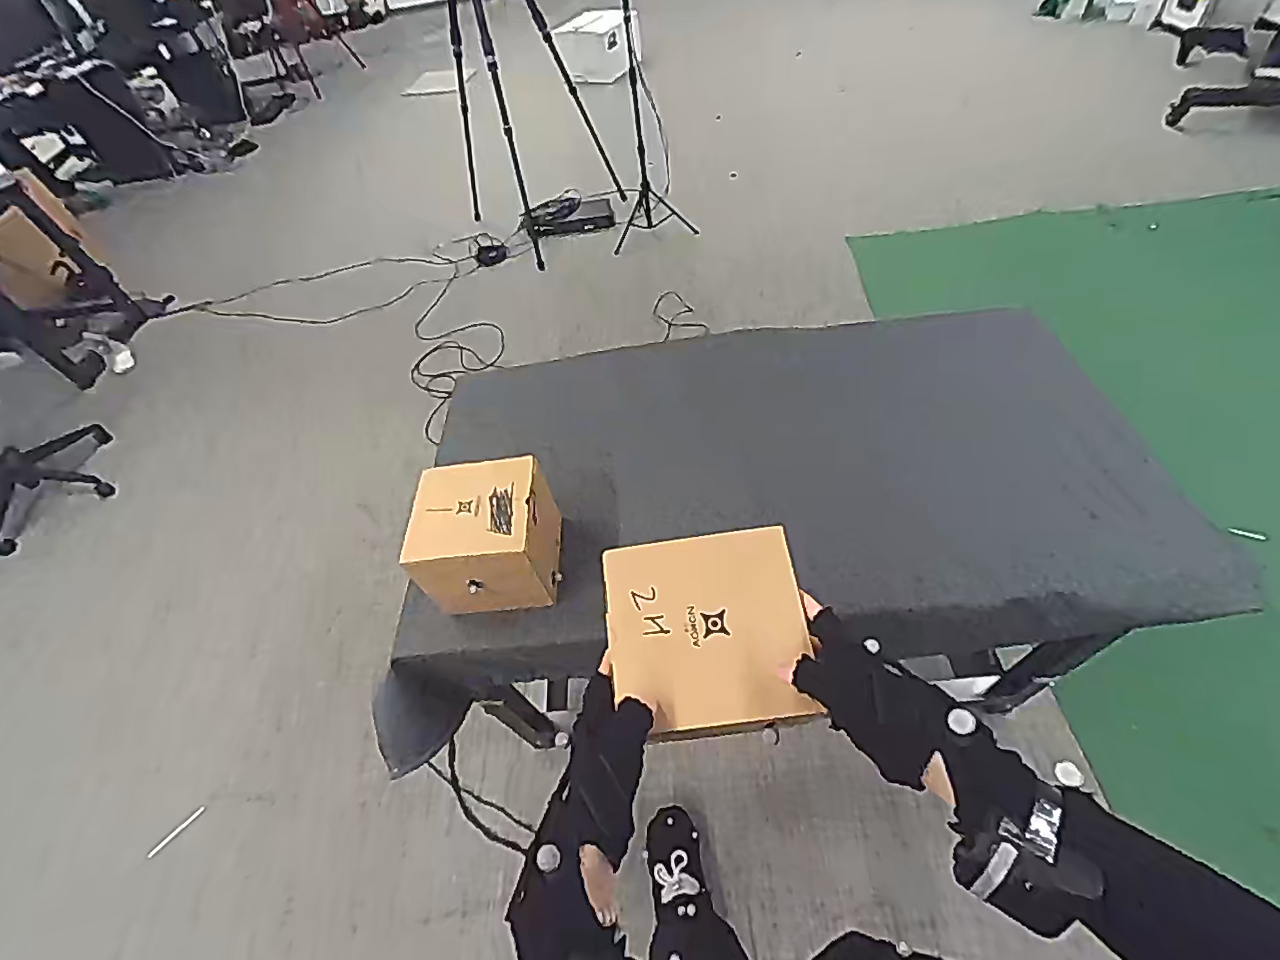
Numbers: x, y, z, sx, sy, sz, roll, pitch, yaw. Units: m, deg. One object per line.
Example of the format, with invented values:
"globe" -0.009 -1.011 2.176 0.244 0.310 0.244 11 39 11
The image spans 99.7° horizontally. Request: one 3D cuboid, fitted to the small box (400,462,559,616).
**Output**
"small box" -0.226 0.093 0.820 0.179 0.176 0.168 -6 51 4
